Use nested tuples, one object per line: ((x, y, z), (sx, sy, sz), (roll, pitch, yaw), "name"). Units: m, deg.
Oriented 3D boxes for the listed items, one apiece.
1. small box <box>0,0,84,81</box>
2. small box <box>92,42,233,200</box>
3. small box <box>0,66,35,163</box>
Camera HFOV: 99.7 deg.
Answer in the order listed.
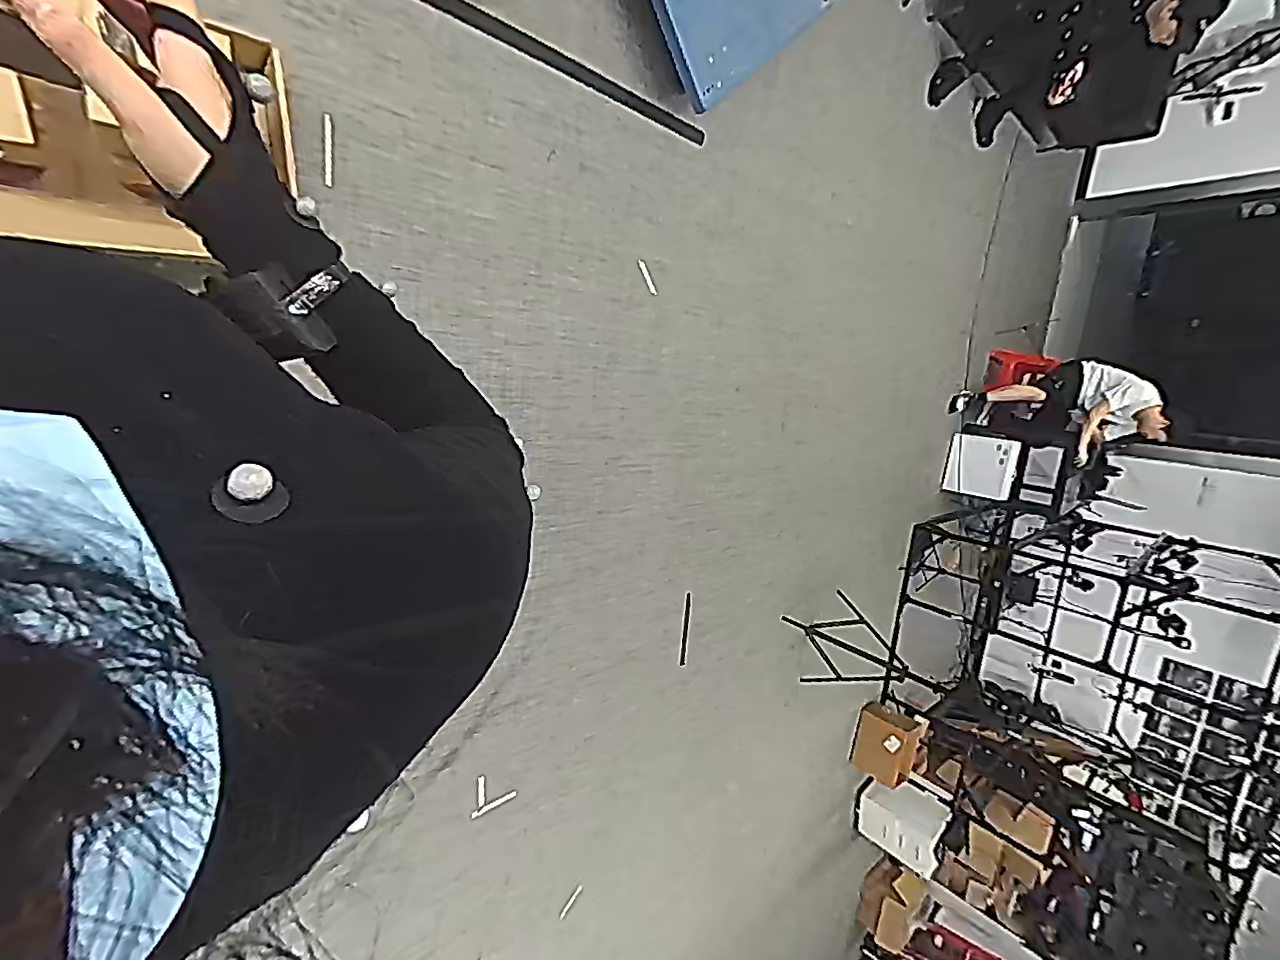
((-0.374, -0.320, 0.243), (0.168, 0.176, 0.179), (-6, 111, -45), "small box")
((-0.856, -0.629, 0.975), (0.168, 0.176, 0.179), (-10, 108, -39), "small box")
((-1.049, -0.592, 0.805), (0.179, 0.176, 0.168), (-13, 109, -41), "small box")
